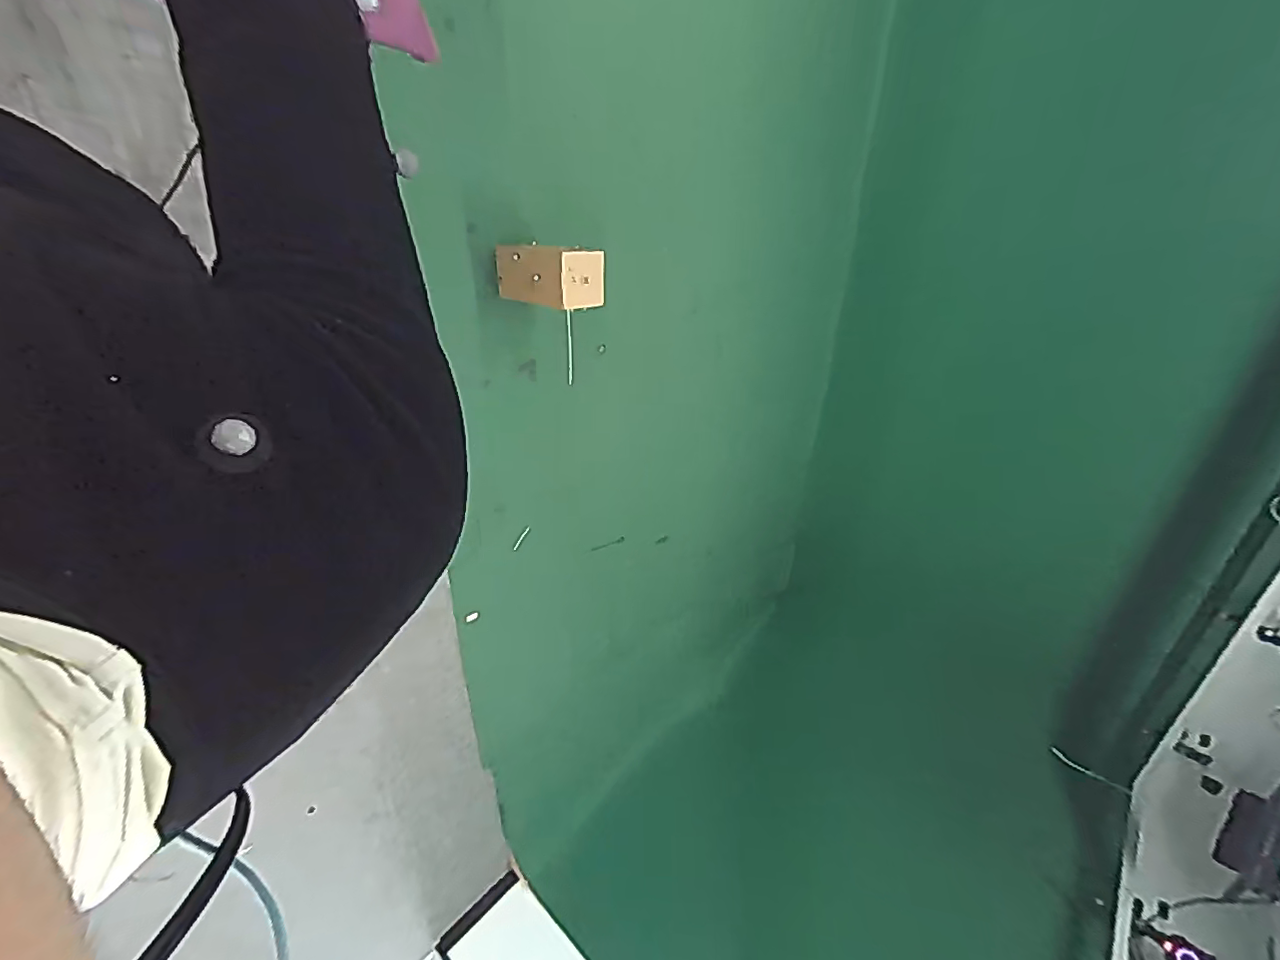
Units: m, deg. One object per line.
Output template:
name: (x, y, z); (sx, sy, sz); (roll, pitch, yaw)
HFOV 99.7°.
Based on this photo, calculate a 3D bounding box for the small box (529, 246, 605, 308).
small box: (-0.231, -0.644, 1.707); (0.179, 0.176, 0.168); (-23, 126, -43)
